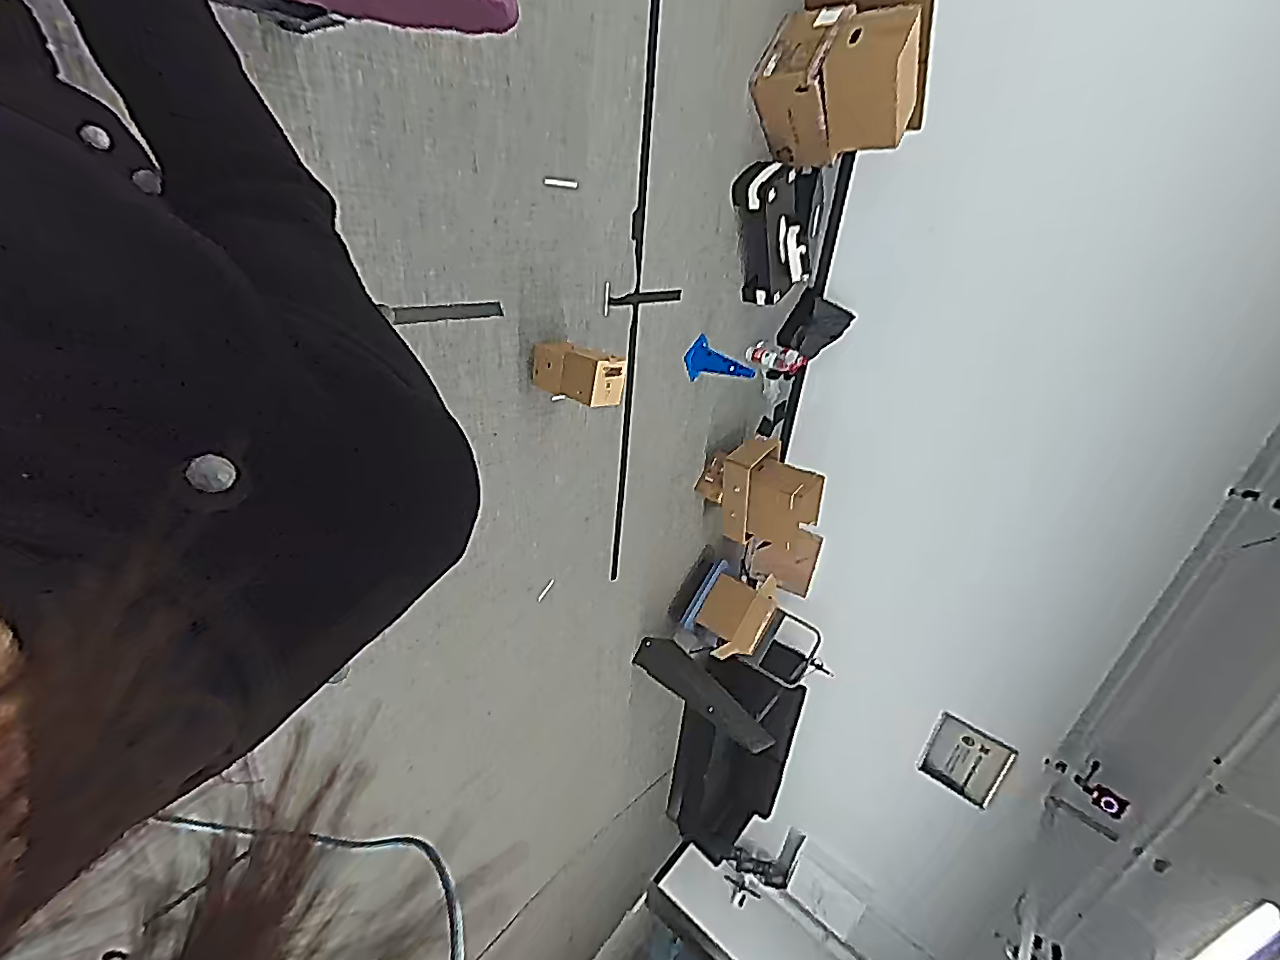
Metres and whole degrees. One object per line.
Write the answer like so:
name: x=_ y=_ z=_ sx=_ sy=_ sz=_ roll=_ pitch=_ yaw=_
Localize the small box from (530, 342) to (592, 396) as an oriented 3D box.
small box: x=-0.316 y=-0.441 z=2.132 sx=0.179 sy=0.176 sz=0.168 roll=-21 pitch=128 yaw=-47
